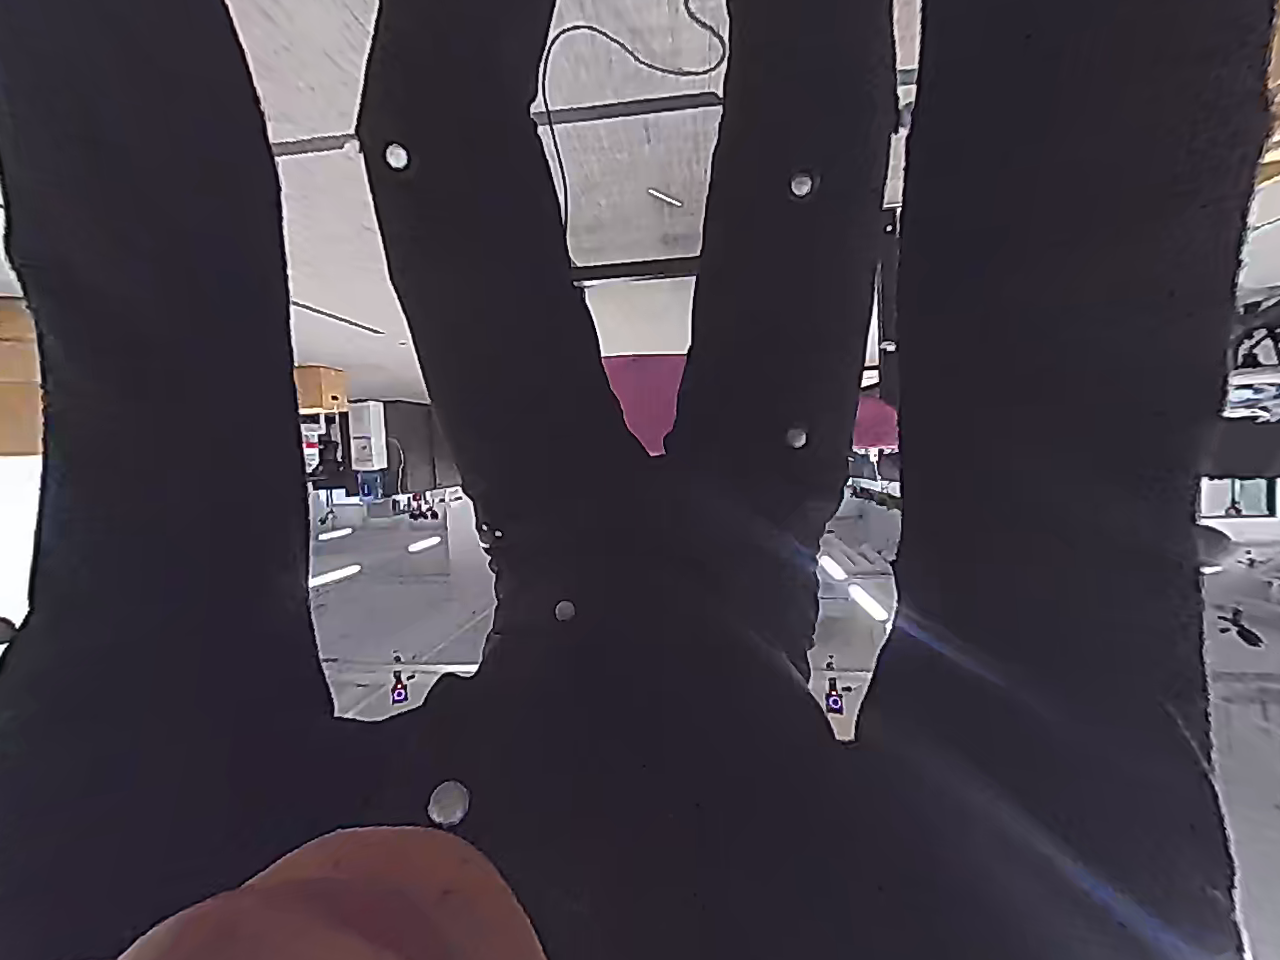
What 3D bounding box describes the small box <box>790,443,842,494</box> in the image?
[{"bbox_3d":[0.615,-0.042,1.902,0.168,0.176,0.179,-1,-176,15],"label":"small box"}]
